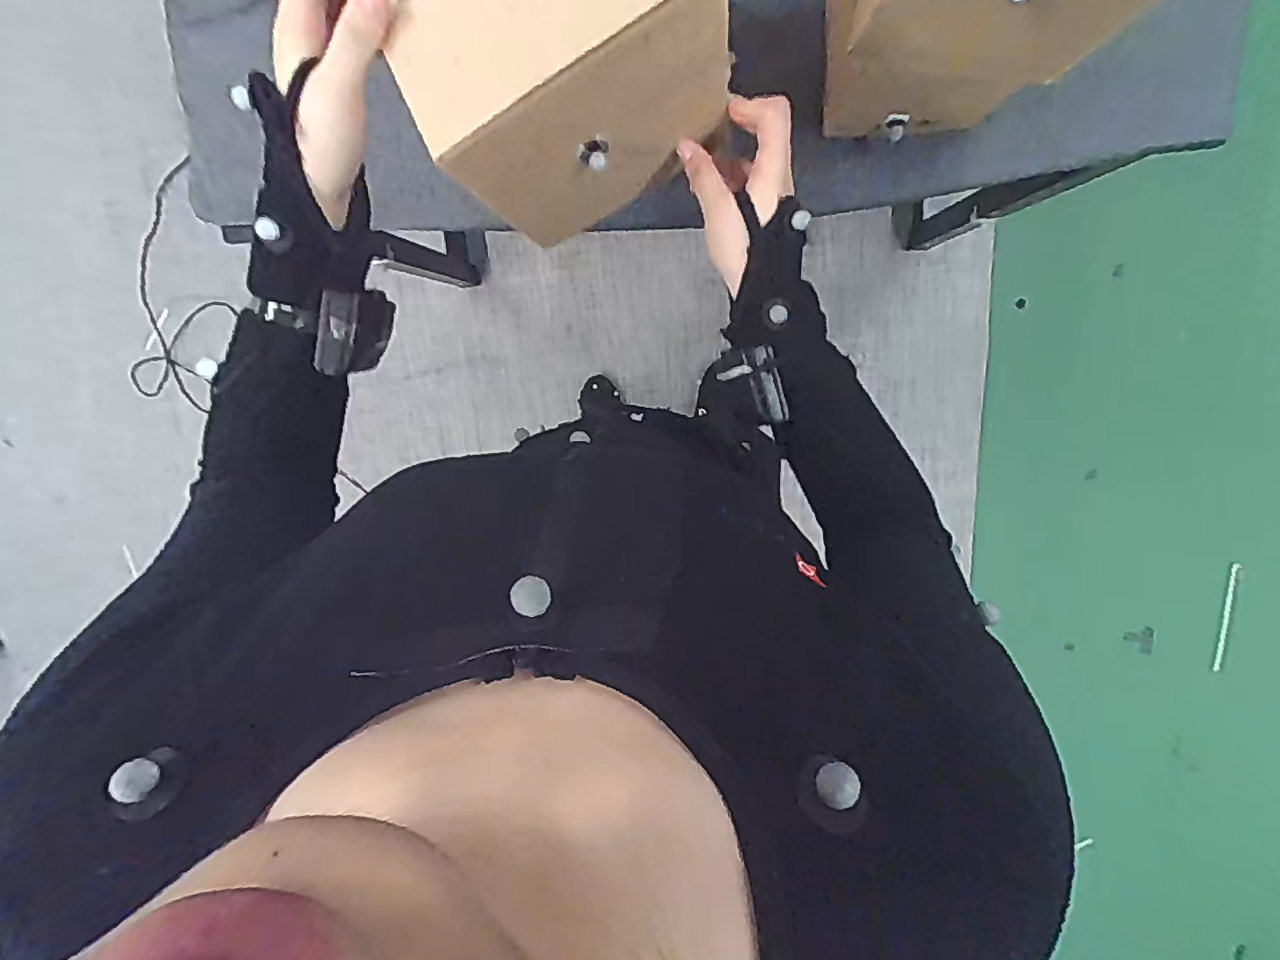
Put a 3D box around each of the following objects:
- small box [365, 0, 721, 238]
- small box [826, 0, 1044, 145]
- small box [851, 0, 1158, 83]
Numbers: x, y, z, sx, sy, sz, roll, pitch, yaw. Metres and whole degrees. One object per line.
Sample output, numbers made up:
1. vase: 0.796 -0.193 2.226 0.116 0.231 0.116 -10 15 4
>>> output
1. small box: -0.055 -0.297 0.360 0.179 0.176 0.168 -24 91 14
2. small box: 0.284 -0.457 0.524 0.168 0.176 0.179 -2 103 6
3. small box: 0.269 -0.408 0.370 0.179 0.176 0.168 9 103 4
